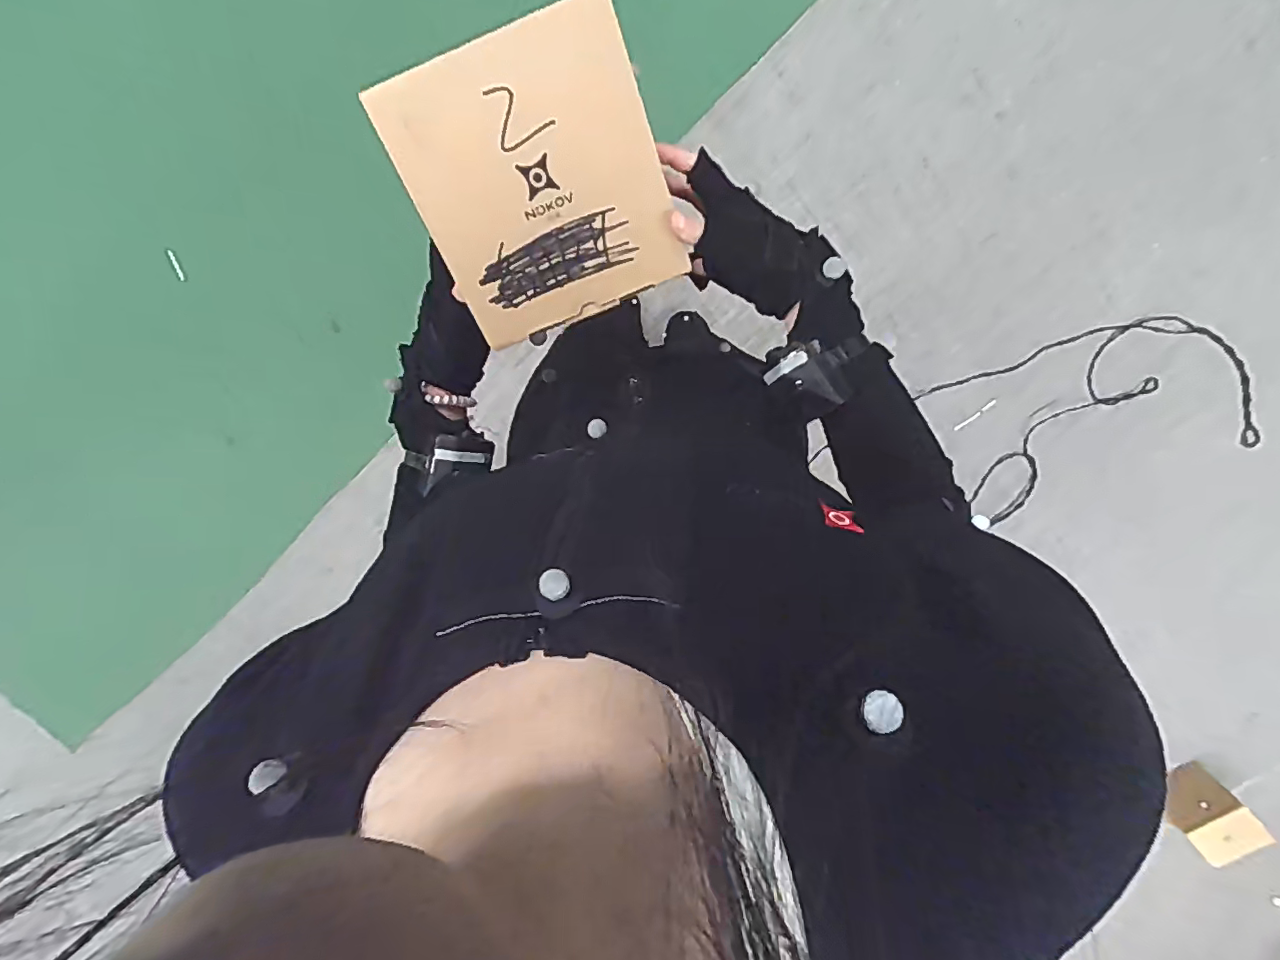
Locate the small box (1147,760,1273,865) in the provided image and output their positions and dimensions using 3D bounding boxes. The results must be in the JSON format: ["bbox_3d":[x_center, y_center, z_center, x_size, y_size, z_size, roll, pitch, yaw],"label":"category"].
[{"bbox_3d":[1.686,0.989,1.618,0.179,0.176,0.168,-42,100,15],"label":"small box"}]
